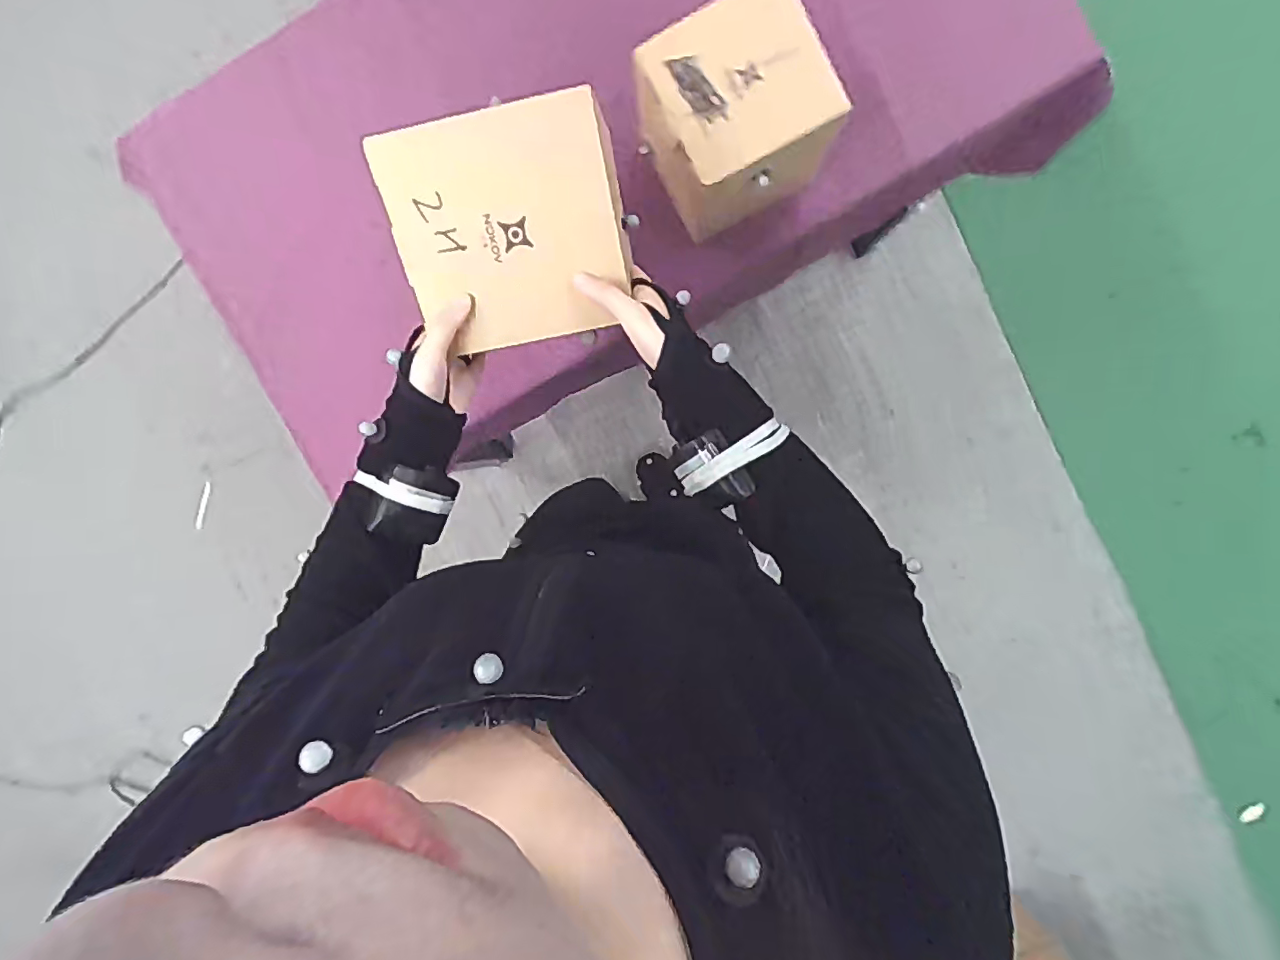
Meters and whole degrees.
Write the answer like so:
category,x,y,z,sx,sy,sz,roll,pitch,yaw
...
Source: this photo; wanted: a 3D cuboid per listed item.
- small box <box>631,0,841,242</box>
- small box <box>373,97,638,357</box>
category,x,y,z,sx,sy,sz,roll,pitch,yaw
small box,0.106,-0.424,0.654,0.179,0.176,0.168,-27,92,4
small box,-0.099,-0.221,0.495,0.179,0.176,0.168,-8,113,6
